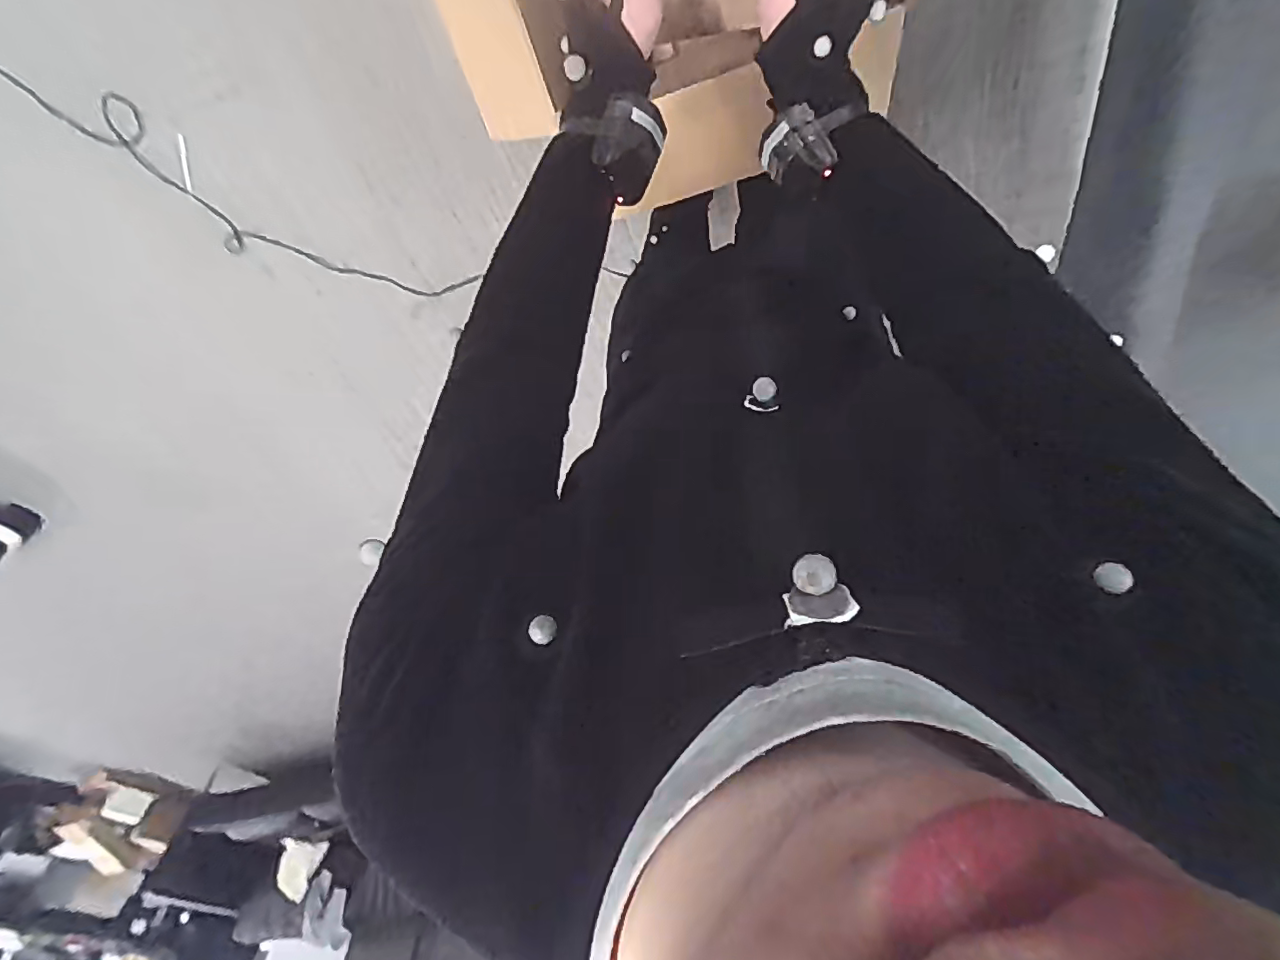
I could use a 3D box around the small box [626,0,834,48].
[{"bbox_3d":[0.068,-0.500,0.450,0.179,0.176,0.168,-6,147,4],"label":"small box"}]
